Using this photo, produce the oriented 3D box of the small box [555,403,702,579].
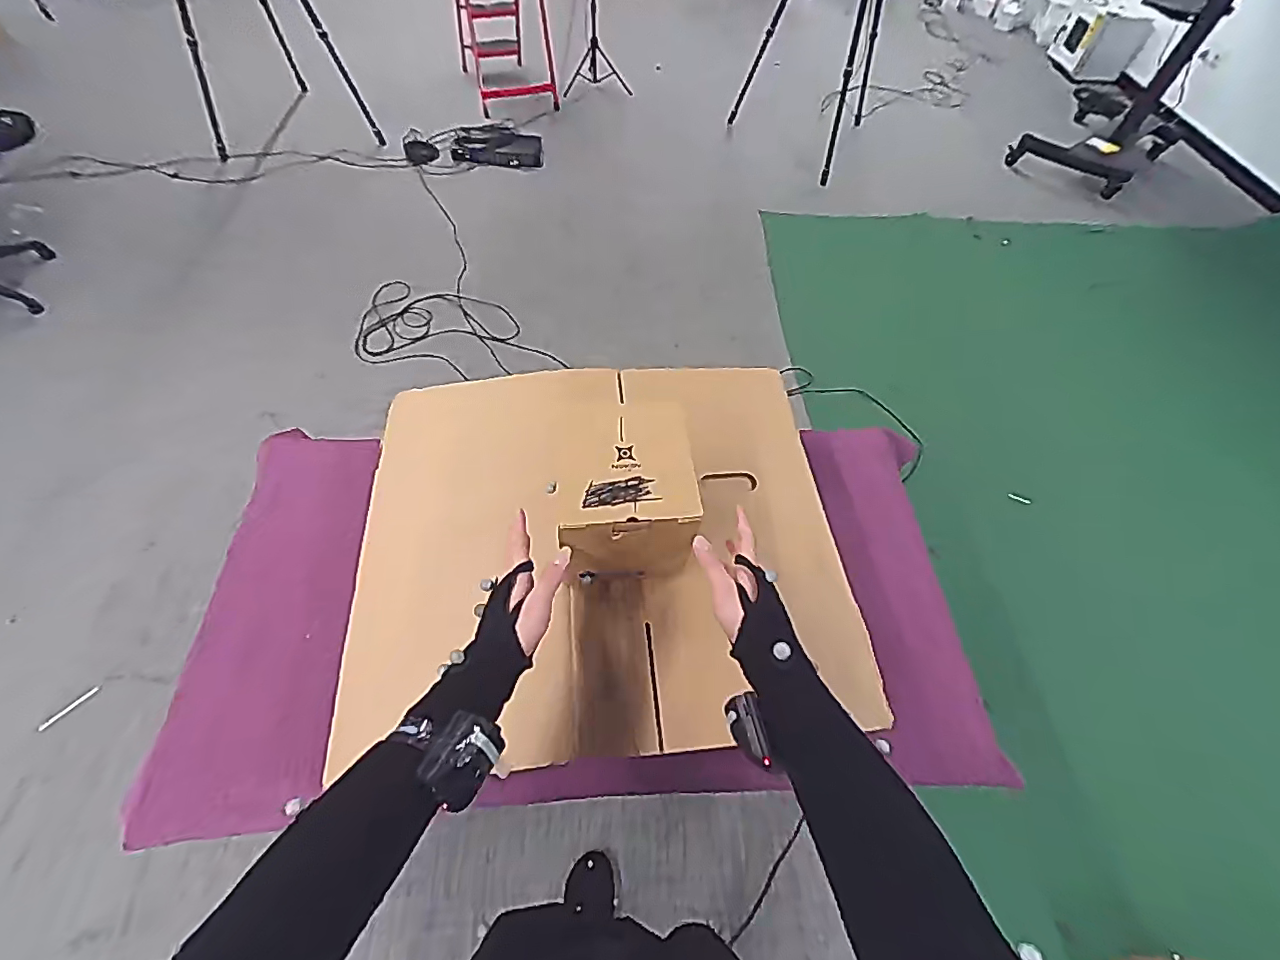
[{"bbox_3d":[-0.023,0.021,0.707,0.168,0.176,0.179,-3,57,-8],"label":"small box"}]
